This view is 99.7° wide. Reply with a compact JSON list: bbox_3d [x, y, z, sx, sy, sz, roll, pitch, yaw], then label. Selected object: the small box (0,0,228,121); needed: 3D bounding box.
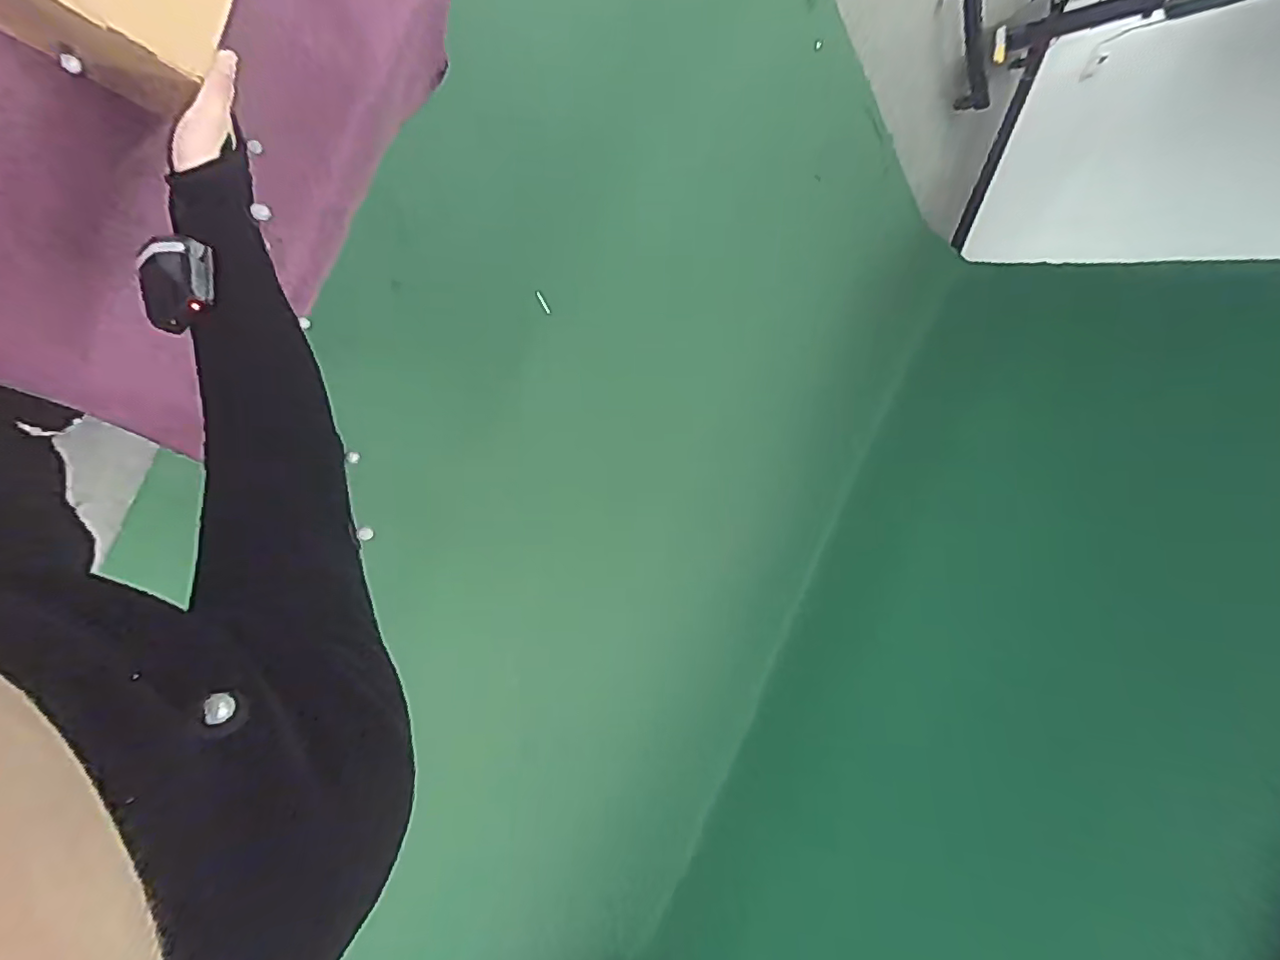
[{"bbox_3d":[-0.447,-0.445,0.445,0.168,0.176,0.179,19,90,-45],"label":"small box"}]
